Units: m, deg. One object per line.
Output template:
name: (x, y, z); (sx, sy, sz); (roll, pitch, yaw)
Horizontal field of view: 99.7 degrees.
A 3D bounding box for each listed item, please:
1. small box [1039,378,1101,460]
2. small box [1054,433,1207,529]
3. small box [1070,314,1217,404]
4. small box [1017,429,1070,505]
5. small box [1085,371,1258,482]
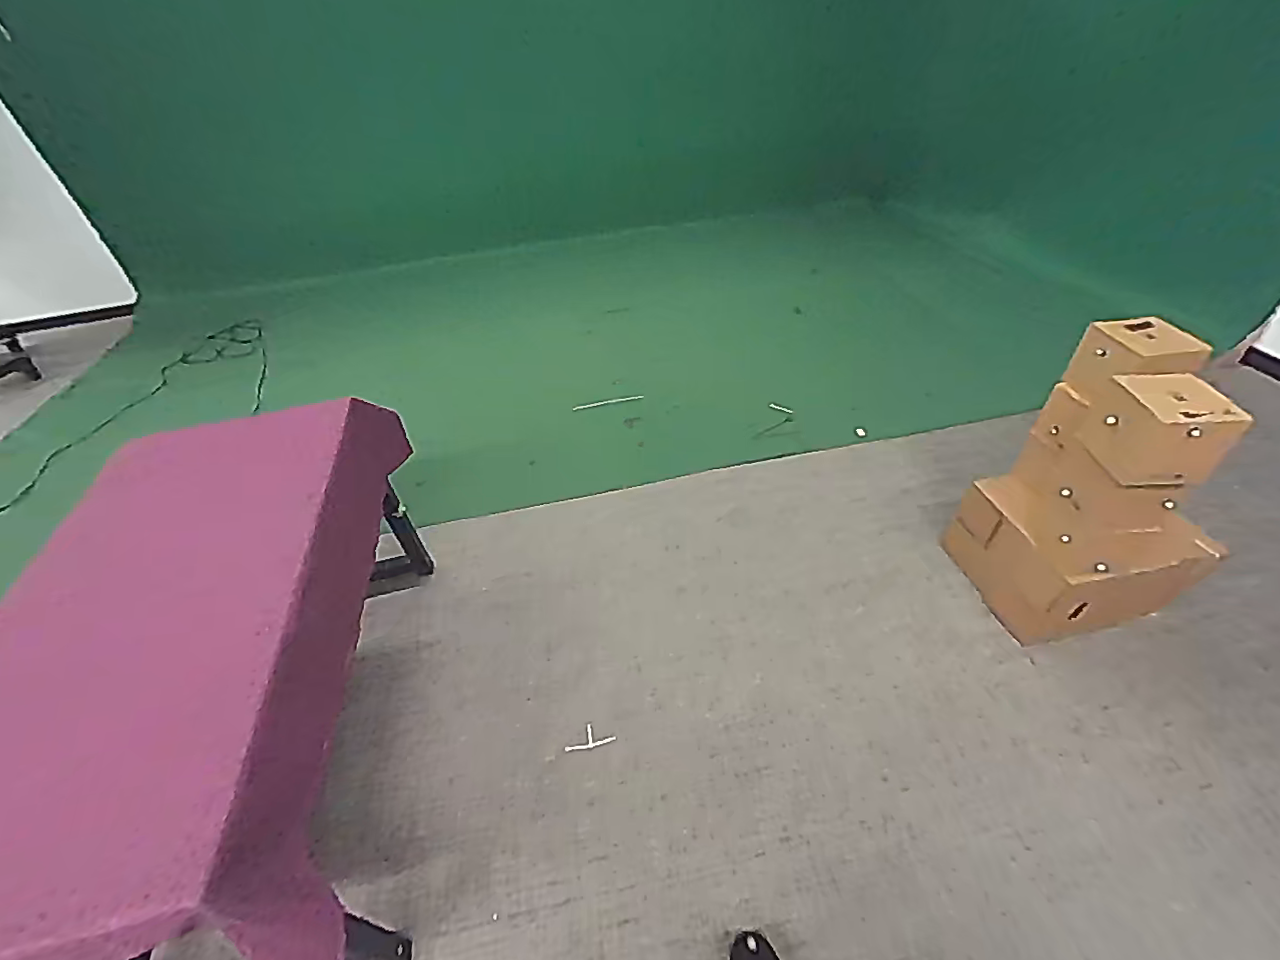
small box: (1.227, -0.166, 1.444); (0.179, 0.176, 0.168); (-10, 42, -4)
small box: (1.136, -0.003, 1.270); (0.179, 0.176, 0.168); (-5, 42, 2)
small box: (1.224, -0.290, 1.335); (0.168, 0.176, 0.179); (-6, 42, 0)
small box: (1.240, -0.043, 1.550); (0.168, 0.176, 0.179); (-10, 42, -6)
small box: (1.108, -0.114, 1.150); (0.168, 0.176, 0.179); (-2, 41, 6)
